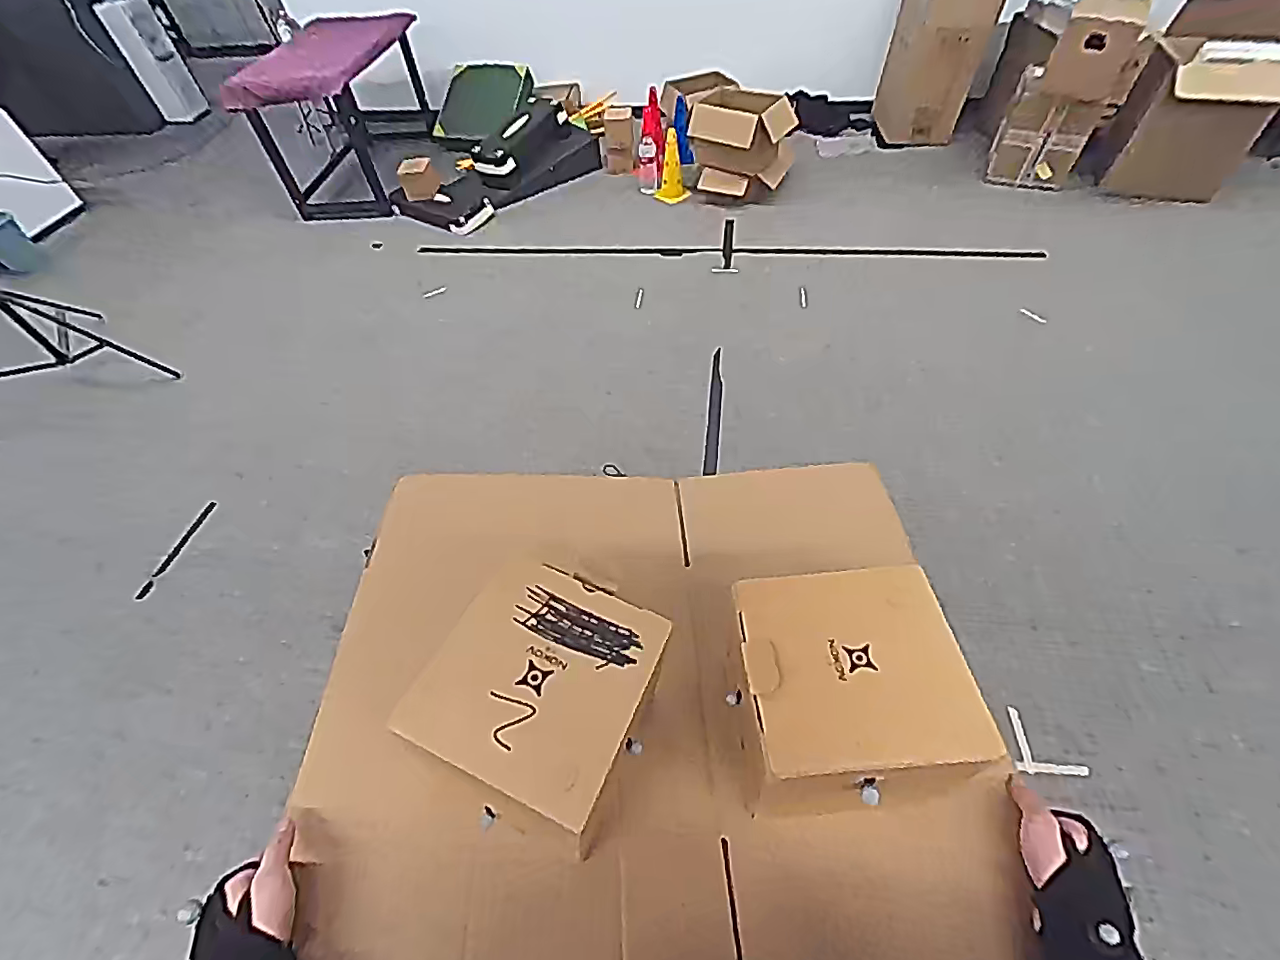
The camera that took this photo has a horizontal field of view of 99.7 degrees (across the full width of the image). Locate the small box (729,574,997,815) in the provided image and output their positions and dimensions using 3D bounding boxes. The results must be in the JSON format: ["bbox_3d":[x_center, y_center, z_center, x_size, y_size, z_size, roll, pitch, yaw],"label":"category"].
[{"bbox_3d":[0.187,0.209,0.520,0.179,0.176,0.168,-6,48,2],"label":"small box"}]
